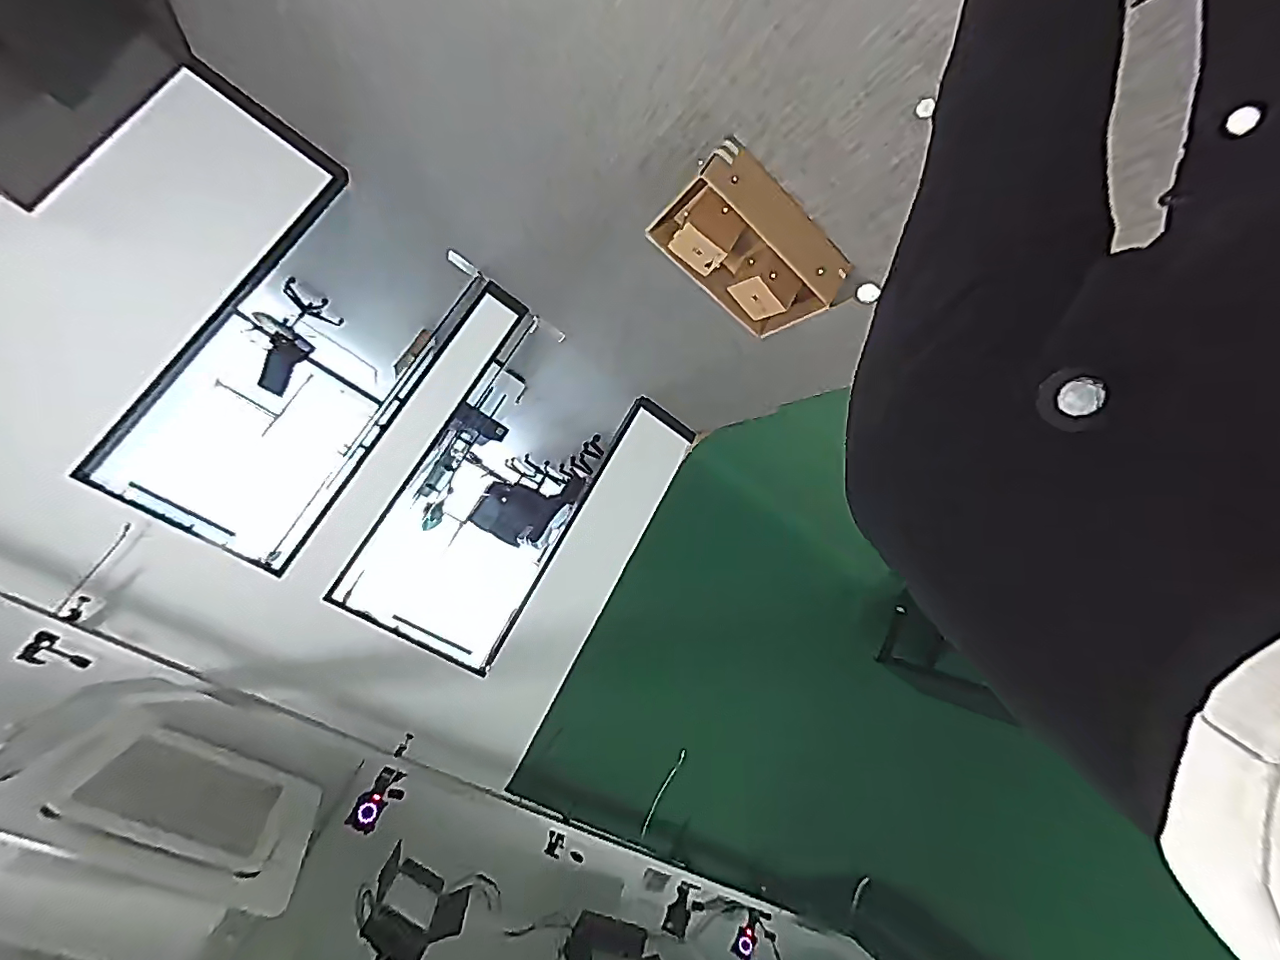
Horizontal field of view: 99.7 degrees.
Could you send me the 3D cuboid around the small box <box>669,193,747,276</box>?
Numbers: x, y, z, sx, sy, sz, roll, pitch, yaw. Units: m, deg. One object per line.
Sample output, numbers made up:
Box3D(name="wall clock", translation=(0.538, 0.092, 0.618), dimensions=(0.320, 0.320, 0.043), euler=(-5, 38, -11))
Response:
Box3D(name="small box", translation=(0.236, -0.858, 1.877), dimensions=(0.179, 0.176, 0.168), euler=(33, 164, -16))
